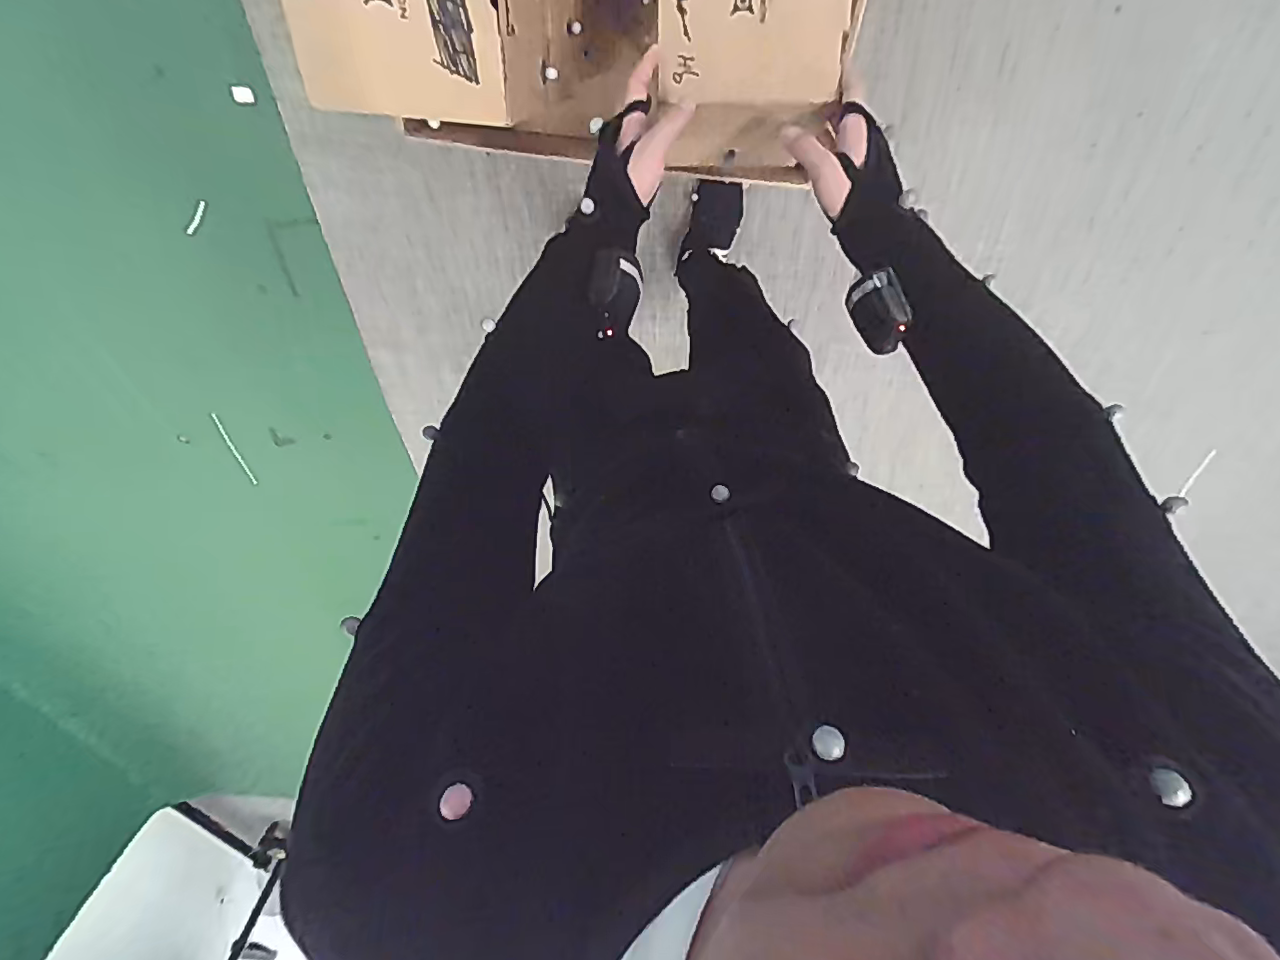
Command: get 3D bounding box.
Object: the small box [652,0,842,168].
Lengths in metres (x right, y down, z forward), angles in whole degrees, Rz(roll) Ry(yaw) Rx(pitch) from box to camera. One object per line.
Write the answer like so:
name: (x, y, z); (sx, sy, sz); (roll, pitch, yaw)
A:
small box: (0.103, -0.455, 0.581); (0.179, 0.176, 0.168); (1, 101, 2)

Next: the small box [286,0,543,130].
small box: (-0.189, -0.430, 0.487); (0.179, 0.176, 0.168); (7, 130, 3)
